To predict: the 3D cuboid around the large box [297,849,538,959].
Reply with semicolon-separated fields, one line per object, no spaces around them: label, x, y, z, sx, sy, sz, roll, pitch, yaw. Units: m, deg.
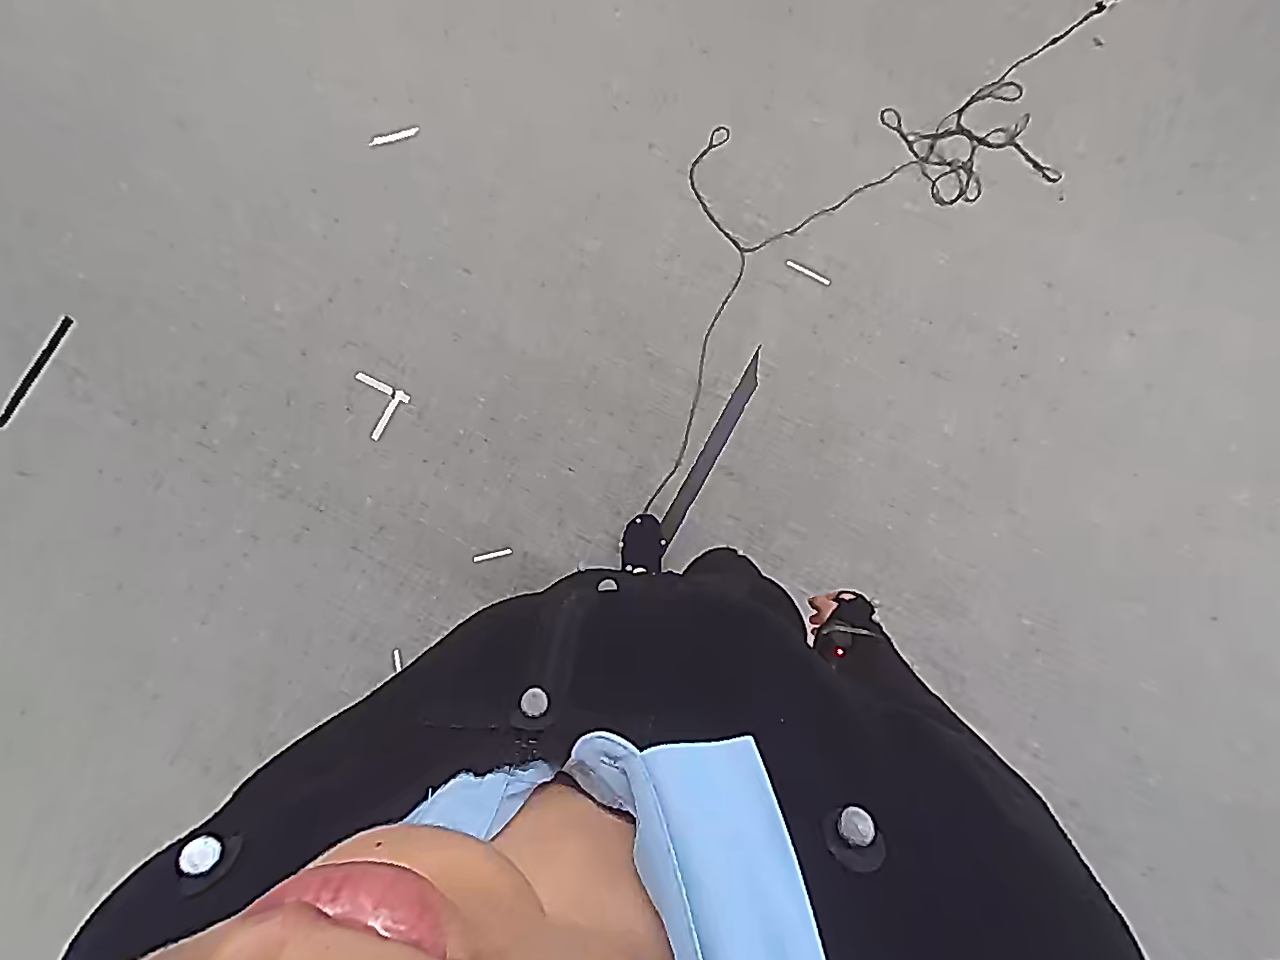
large box;-0.470;1.039;1.067;0.408;0.320;0.320;27;83;3
